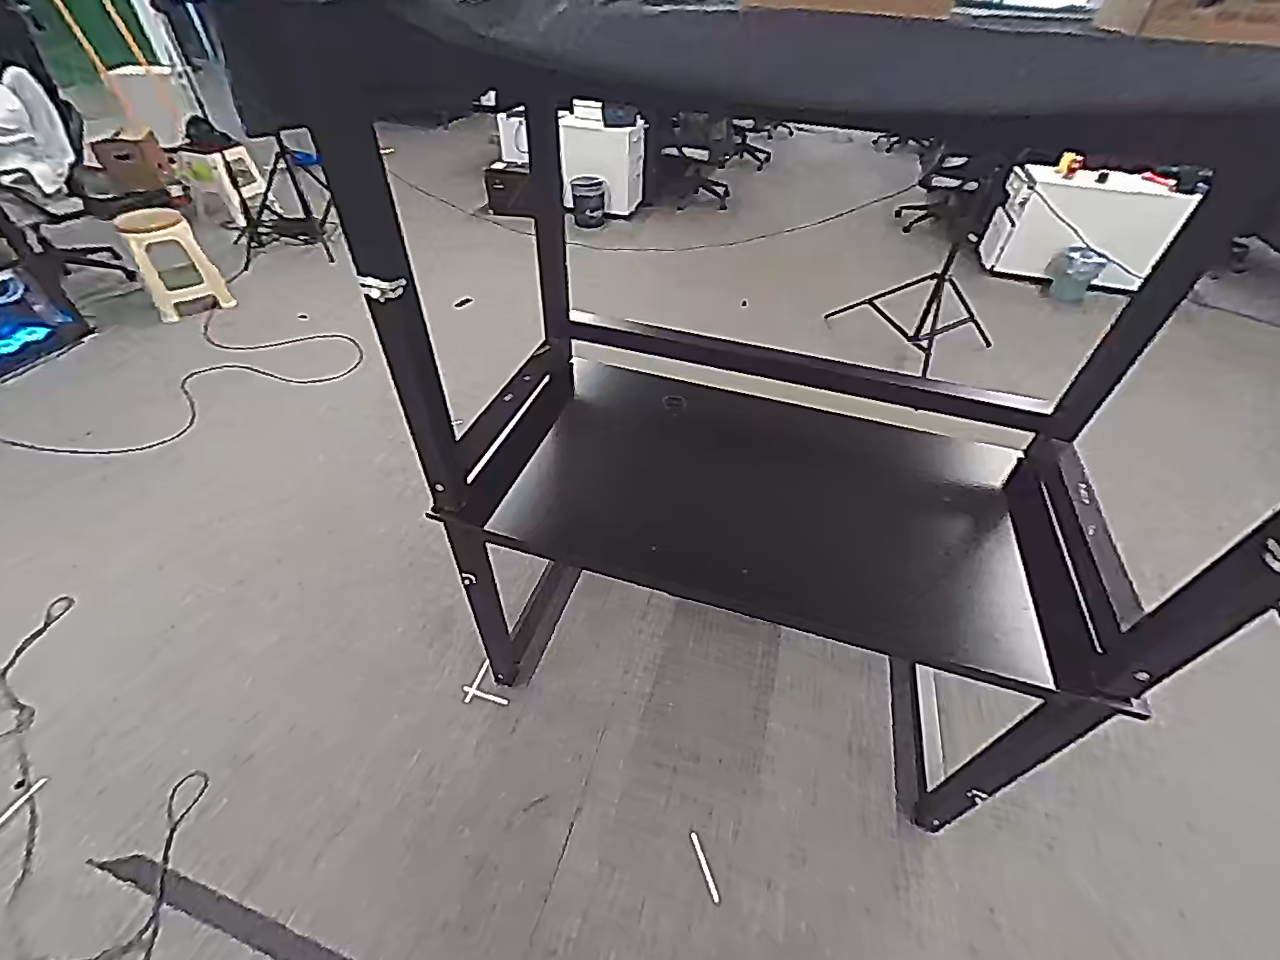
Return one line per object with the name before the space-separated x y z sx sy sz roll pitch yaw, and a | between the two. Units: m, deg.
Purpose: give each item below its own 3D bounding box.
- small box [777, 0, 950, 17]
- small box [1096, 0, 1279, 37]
small box | 0.191 -0.494 0.437 0.168 0.176 0.179 14 43 12
small box | 0.478 -0.425 0.384 0.168 0.176 0.179 17 44 14
